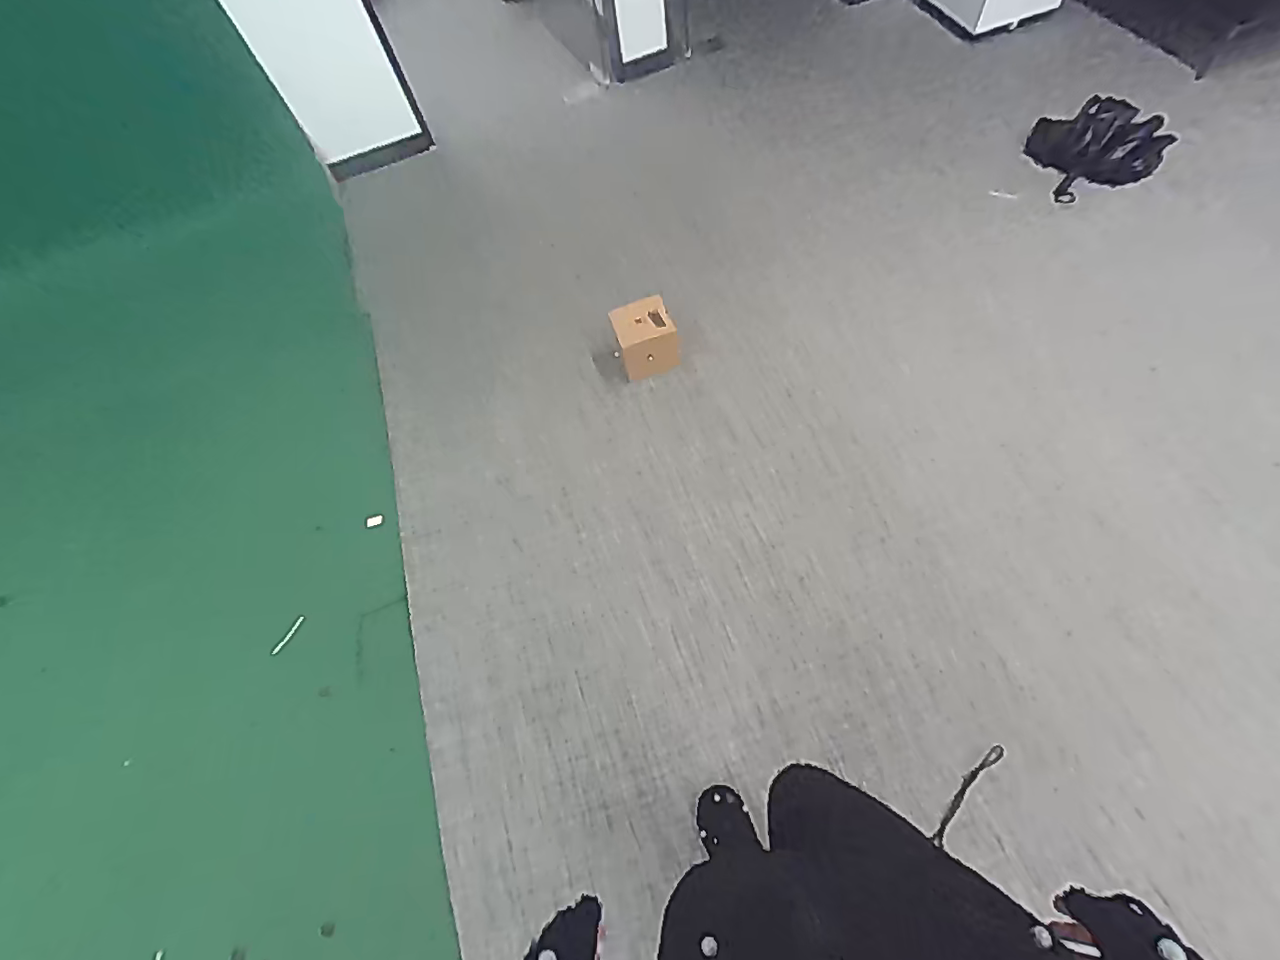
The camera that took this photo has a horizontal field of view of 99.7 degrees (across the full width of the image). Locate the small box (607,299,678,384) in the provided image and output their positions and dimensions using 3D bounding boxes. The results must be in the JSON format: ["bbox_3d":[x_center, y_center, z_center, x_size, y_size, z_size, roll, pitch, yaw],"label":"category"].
[{"bbox_3d":[0.012,-0.438,1.725,0.179,0.176,0.168,-21,62,-4],"label":"small box"}]
